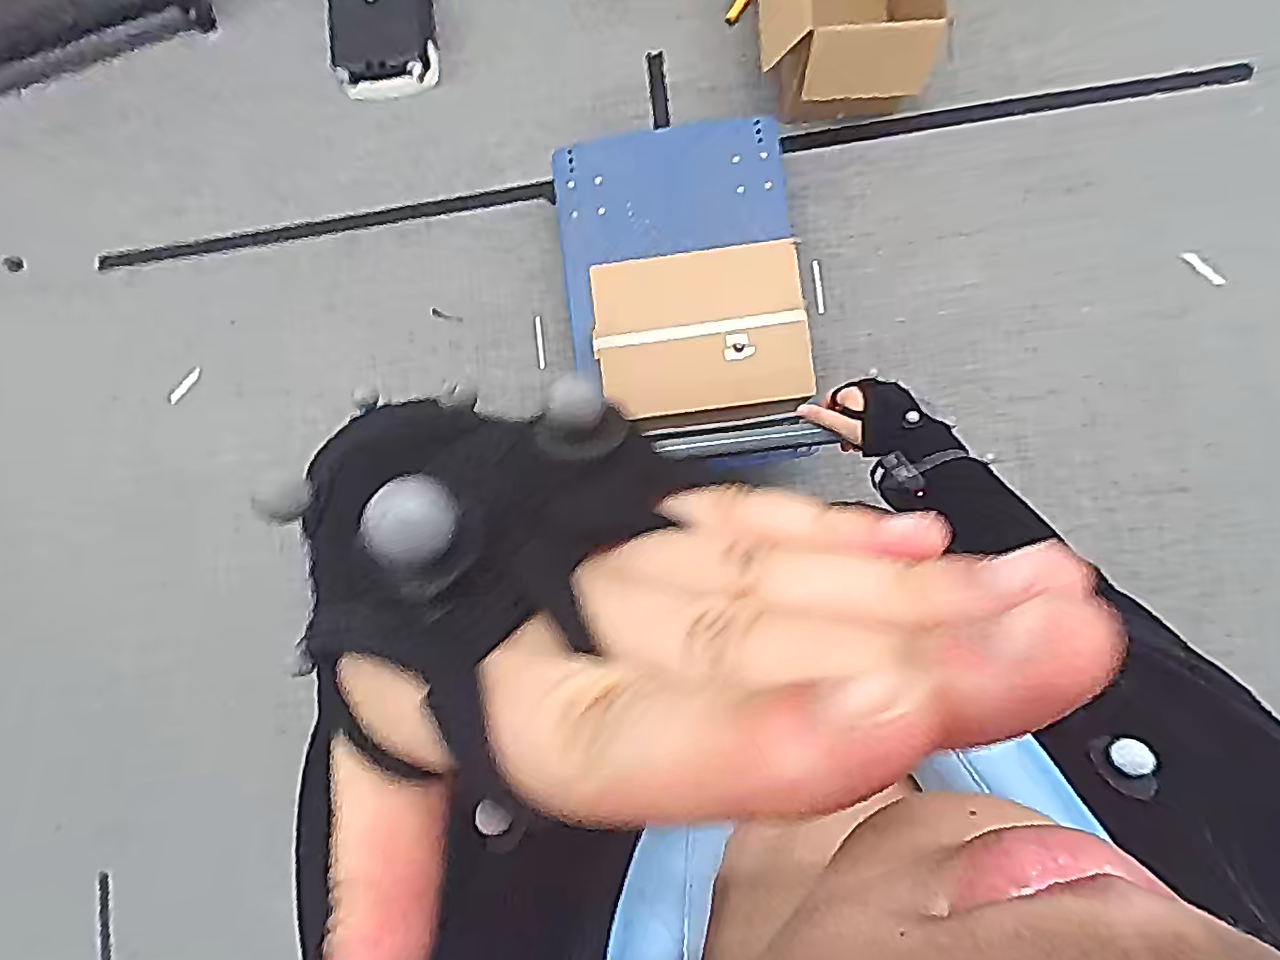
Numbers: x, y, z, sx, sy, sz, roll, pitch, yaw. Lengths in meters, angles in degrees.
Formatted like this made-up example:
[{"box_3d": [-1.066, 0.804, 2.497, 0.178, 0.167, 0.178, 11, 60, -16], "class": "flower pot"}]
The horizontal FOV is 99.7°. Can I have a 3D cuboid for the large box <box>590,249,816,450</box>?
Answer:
[{"box_3d": [0.122, -0.258, 1.183, 0.408, 0.320, 0.320, -7, 87, 2], "class": "large box"}]
